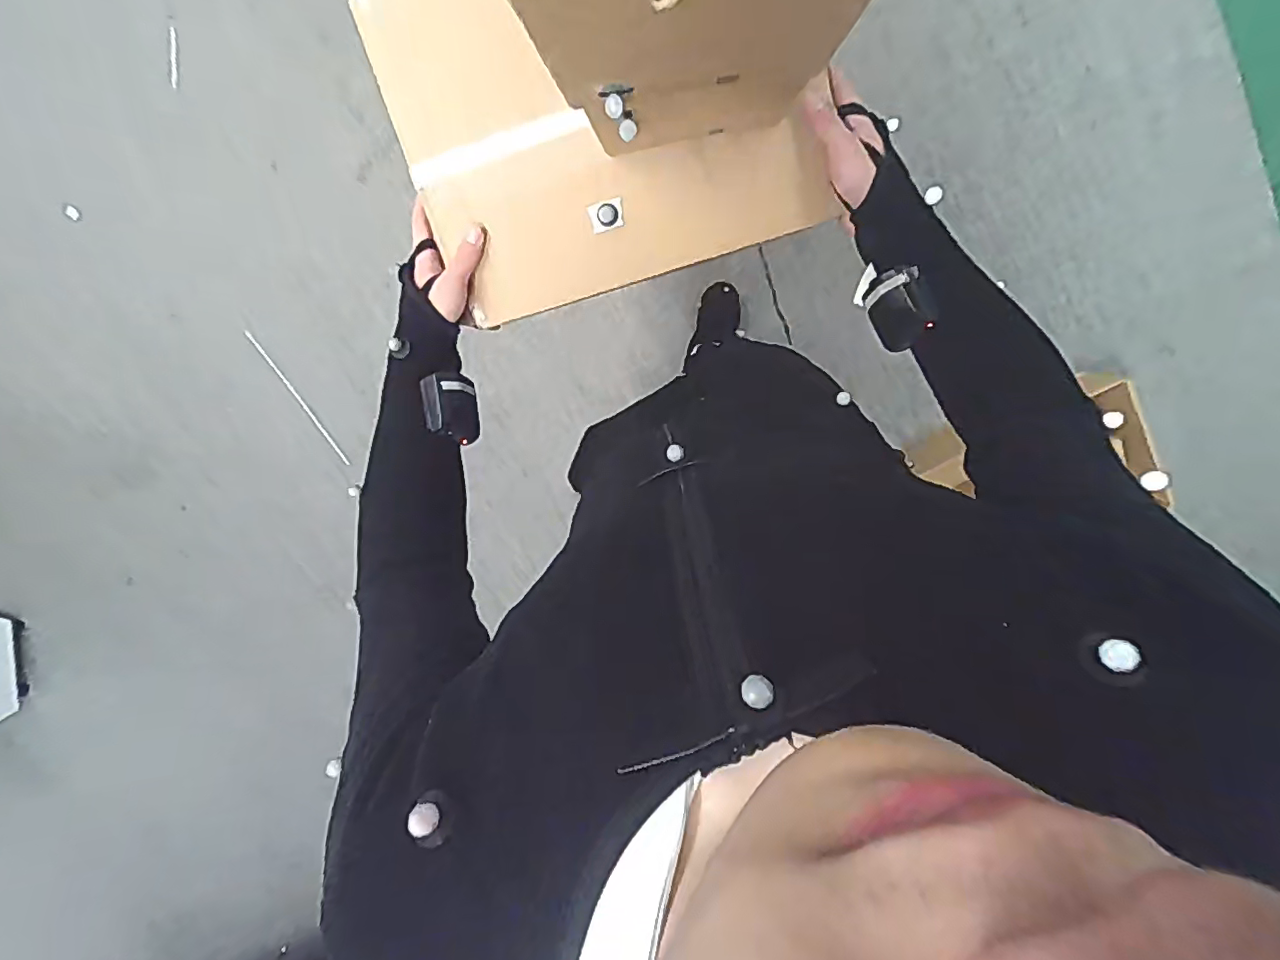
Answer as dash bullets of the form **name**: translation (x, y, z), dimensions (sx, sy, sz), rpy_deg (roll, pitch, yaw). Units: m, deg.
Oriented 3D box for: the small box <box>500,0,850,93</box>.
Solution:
- **small box**: translation (0.019, -0.303, 0.244), dimensions (0.168, 0.176, 0.179), rpy_deg (-4, 109, 5)
